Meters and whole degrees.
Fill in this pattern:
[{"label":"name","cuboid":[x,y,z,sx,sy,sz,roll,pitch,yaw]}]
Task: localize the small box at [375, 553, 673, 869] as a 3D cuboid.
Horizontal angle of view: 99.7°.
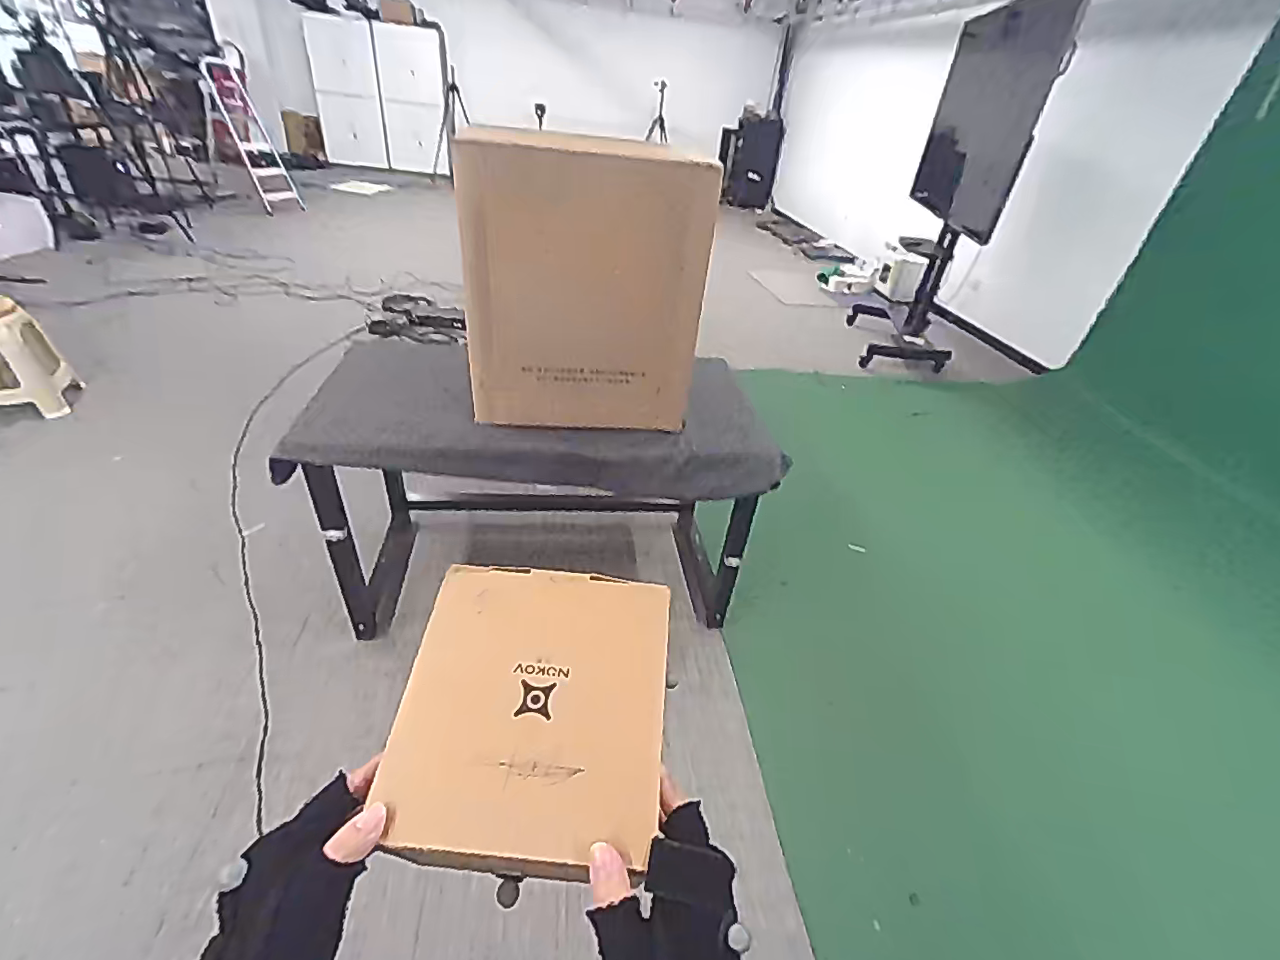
[{"label":"small box","cuboid":[-0.067,0.180,0.416,0.168,0.176,0.179,5,51,1]}]
